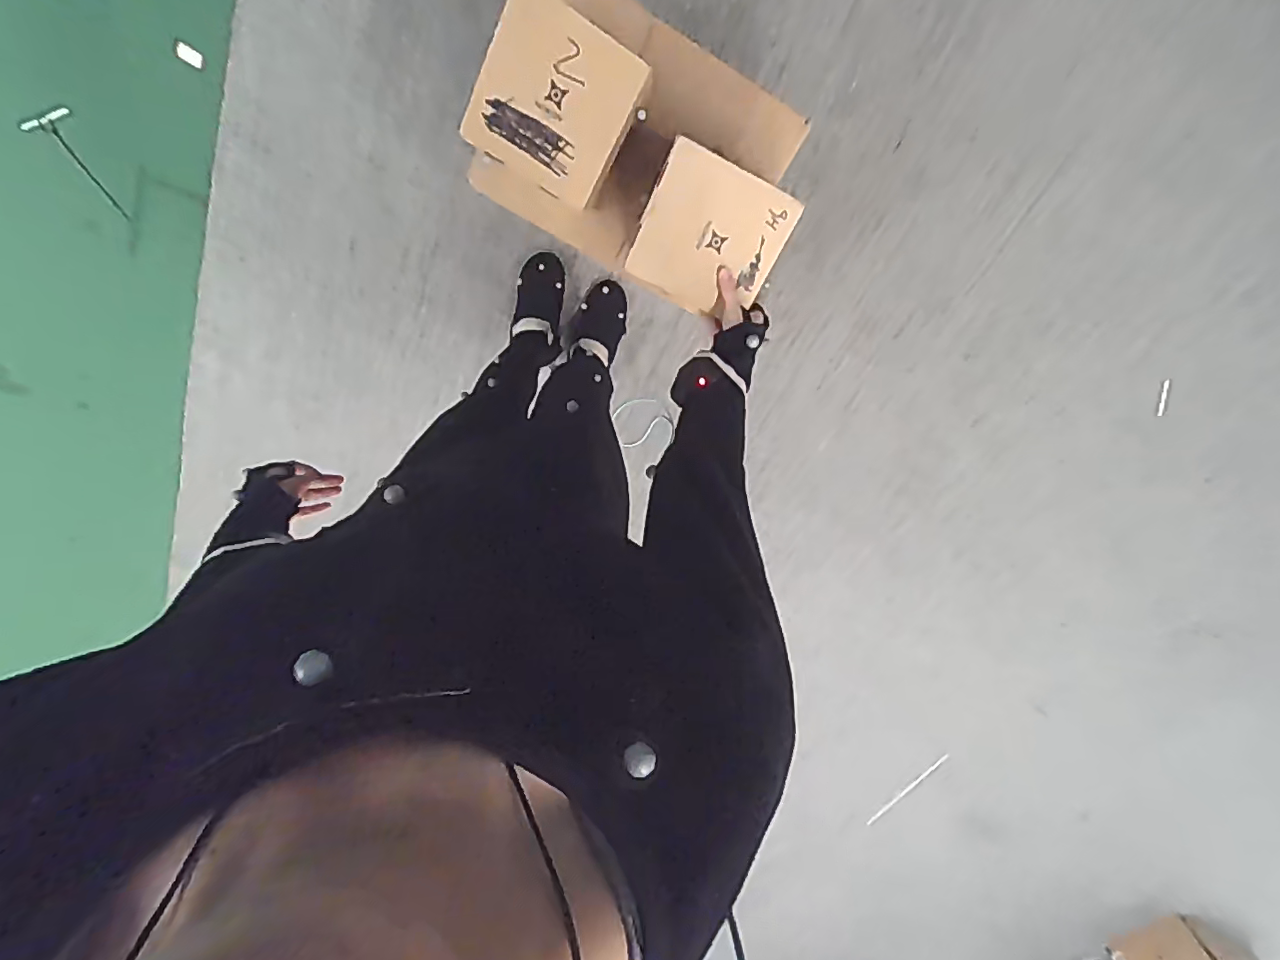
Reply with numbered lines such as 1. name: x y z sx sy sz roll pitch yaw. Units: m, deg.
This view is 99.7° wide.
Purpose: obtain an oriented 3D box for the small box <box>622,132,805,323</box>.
1. small box: 0.093 -0.344 0.743 0.179 0.176 0.168 24 119 -9
